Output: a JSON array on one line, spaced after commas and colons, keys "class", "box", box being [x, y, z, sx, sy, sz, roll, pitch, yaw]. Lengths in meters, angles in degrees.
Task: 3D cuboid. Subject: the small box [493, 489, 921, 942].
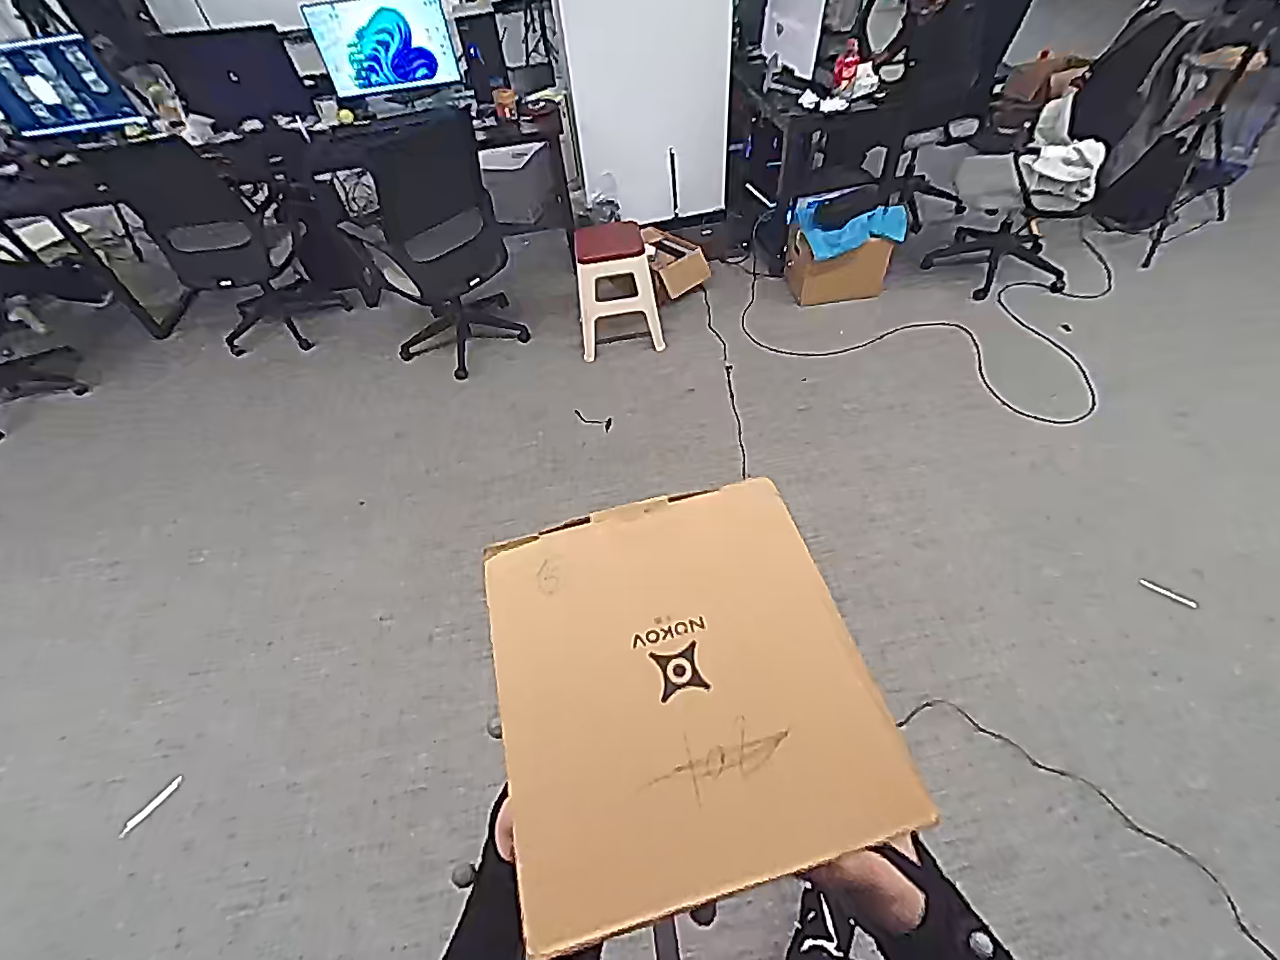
[{"class": "small box", "box": [0.020, 0.136, 0.327, 0.168, 0.176, 0.179, -14, 56, -7]}]
